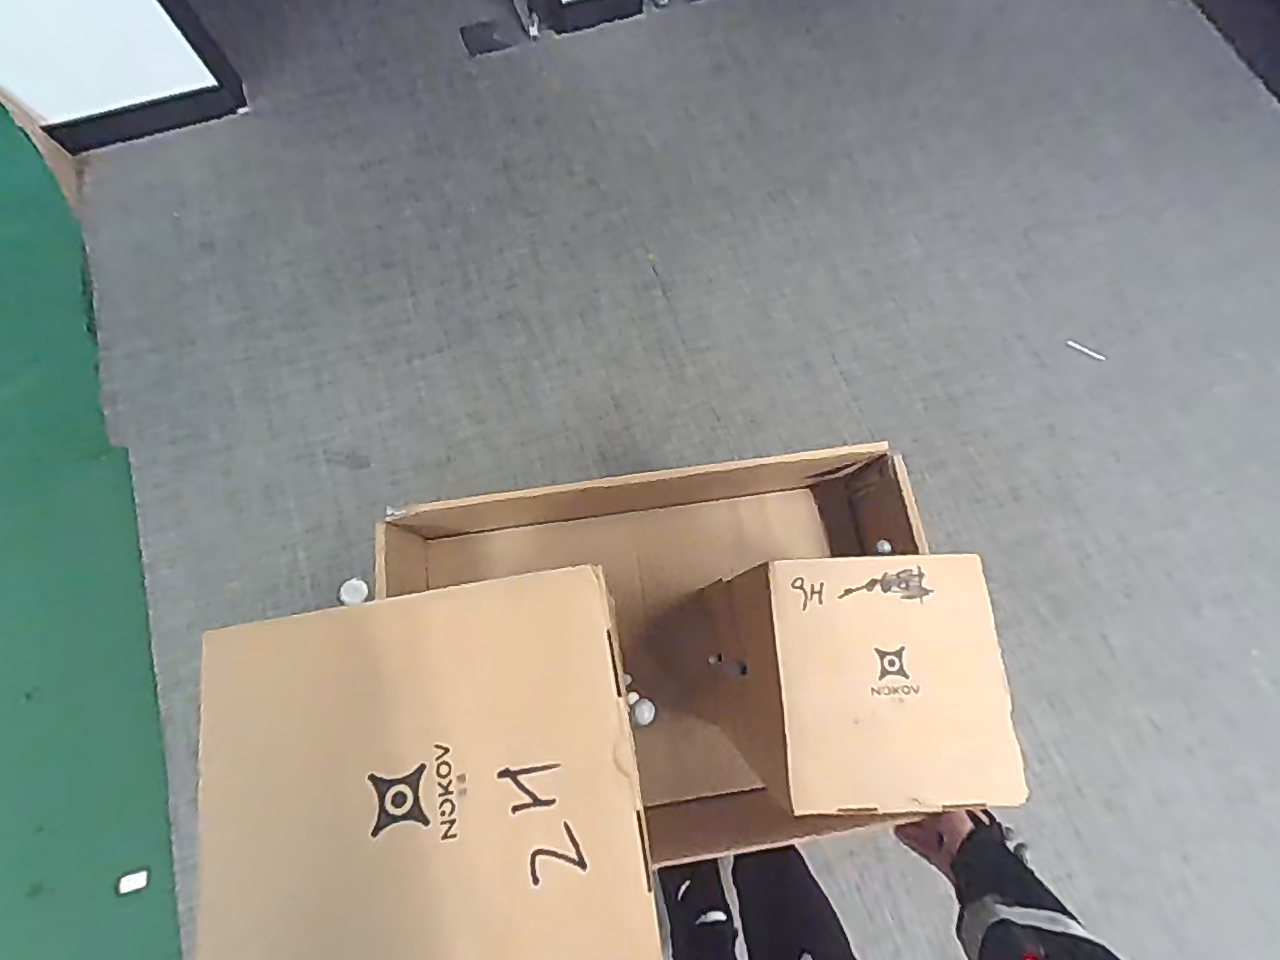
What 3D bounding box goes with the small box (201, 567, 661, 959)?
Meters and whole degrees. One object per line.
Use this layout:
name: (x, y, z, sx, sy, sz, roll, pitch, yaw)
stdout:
small box: (-0.092, 0.150, 0.299, 0.179, 0.176, 0.168, -9, 76, -6)
